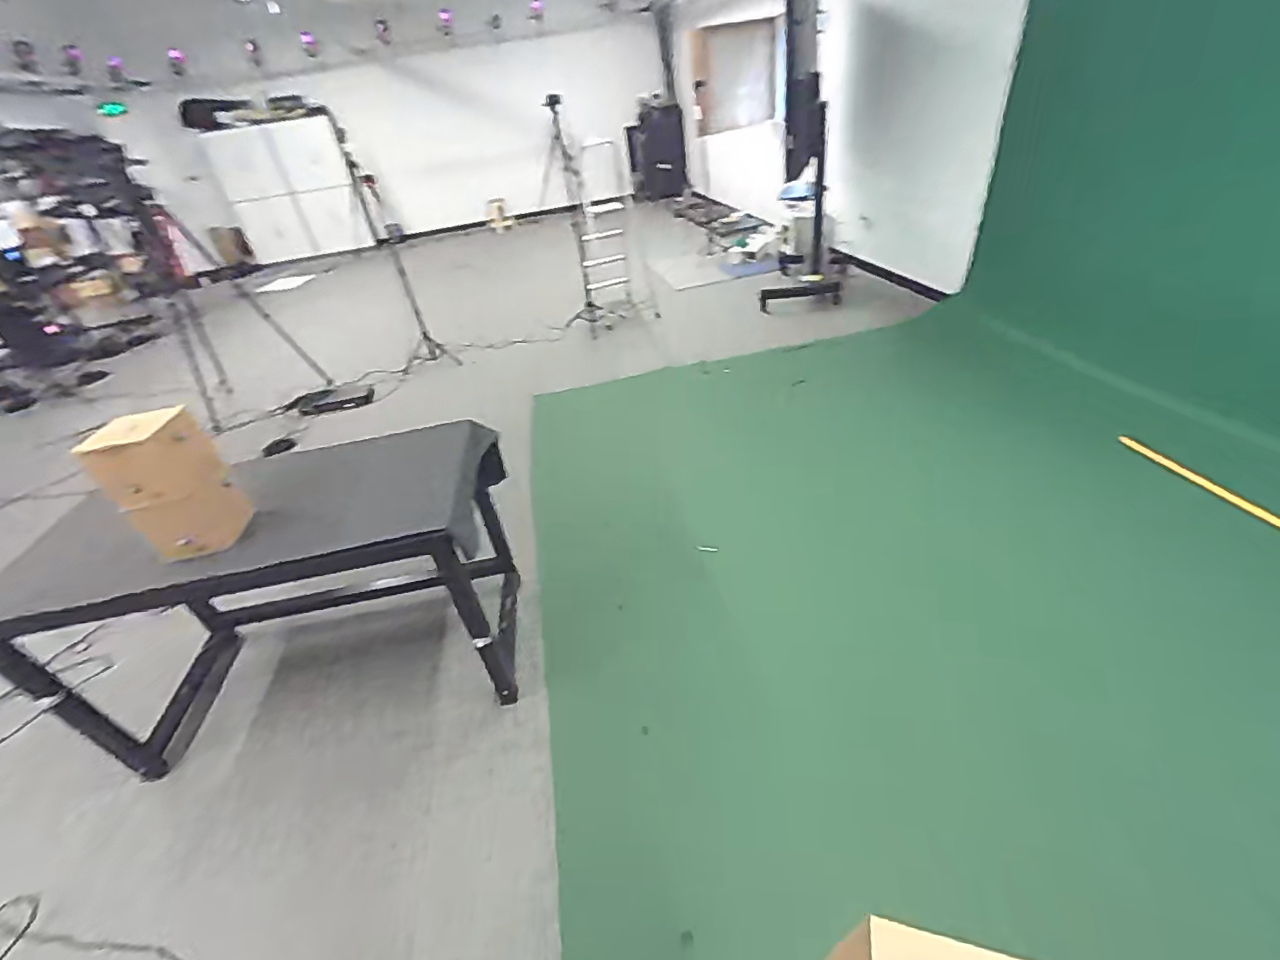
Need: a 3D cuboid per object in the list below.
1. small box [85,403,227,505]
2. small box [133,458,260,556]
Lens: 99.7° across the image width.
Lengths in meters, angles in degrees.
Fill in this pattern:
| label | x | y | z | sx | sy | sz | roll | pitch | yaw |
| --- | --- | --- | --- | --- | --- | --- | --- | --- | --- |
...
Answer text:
| label | x | y | z | sx | sy | sz | roll | pitch | yaw |
| --- | --- | --- | --- | --- | --- | --- | --- | --- | --- |
| small box | -1.153 | -0.063 | 1.311 | 0.168 | 0.176 | 0.179 | -12 | 35 | -4 |
| small box | -1.132 | 0.069 | 1.403 | 0.168 | 0.176 | 0.179 | -12 | 35 | -4 |
